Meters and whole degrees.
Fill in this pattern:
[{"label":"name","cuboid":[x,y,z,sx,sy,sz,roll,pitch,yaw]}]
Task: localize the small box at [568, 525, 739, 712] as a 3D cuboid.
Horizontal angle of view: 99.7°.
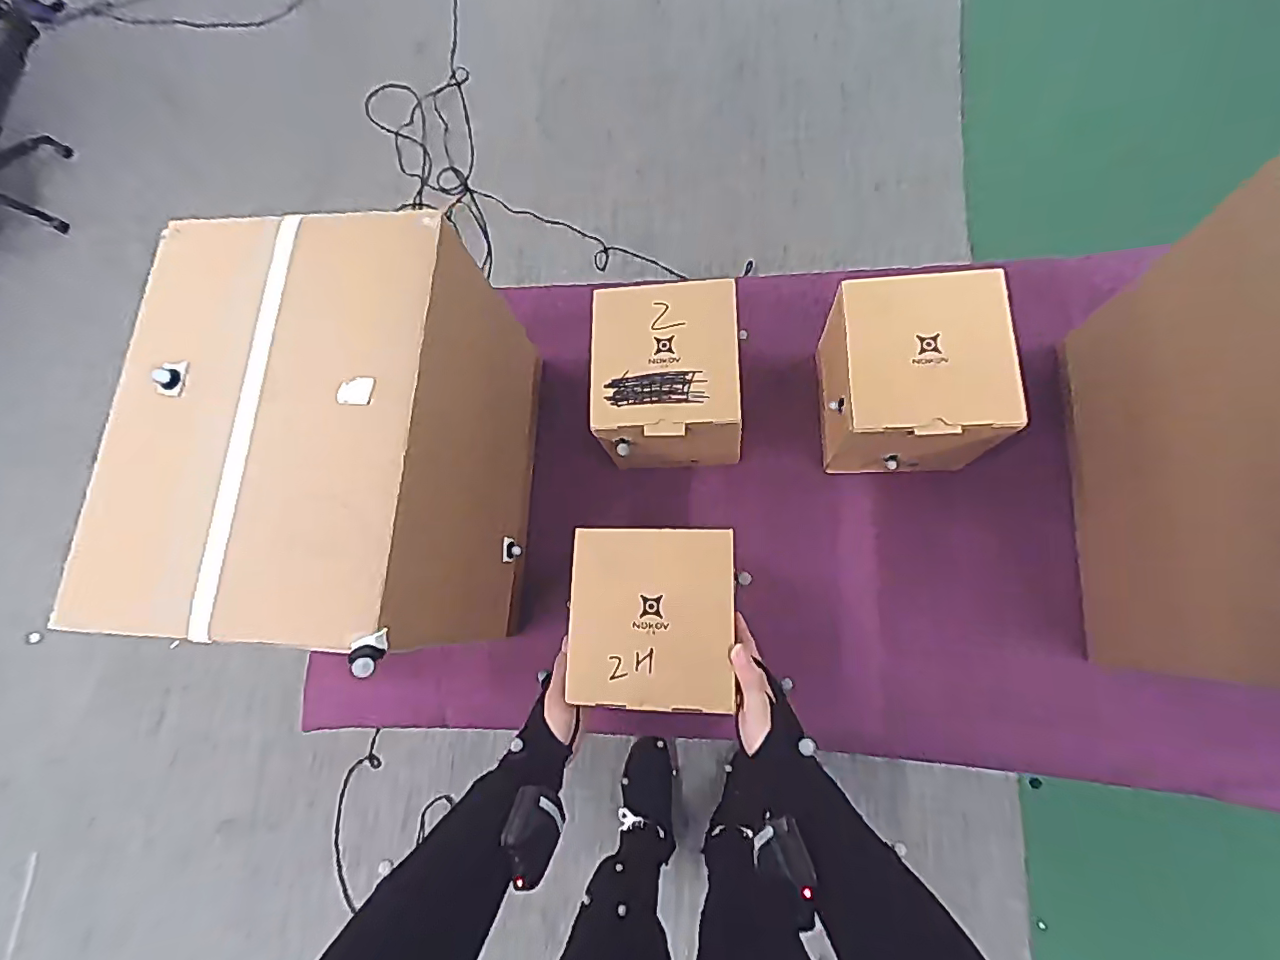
[{"label":"small box","cuboid":[0.025,0.152,0.608,0.168,0.176,0.179,-1,75,9]}]
